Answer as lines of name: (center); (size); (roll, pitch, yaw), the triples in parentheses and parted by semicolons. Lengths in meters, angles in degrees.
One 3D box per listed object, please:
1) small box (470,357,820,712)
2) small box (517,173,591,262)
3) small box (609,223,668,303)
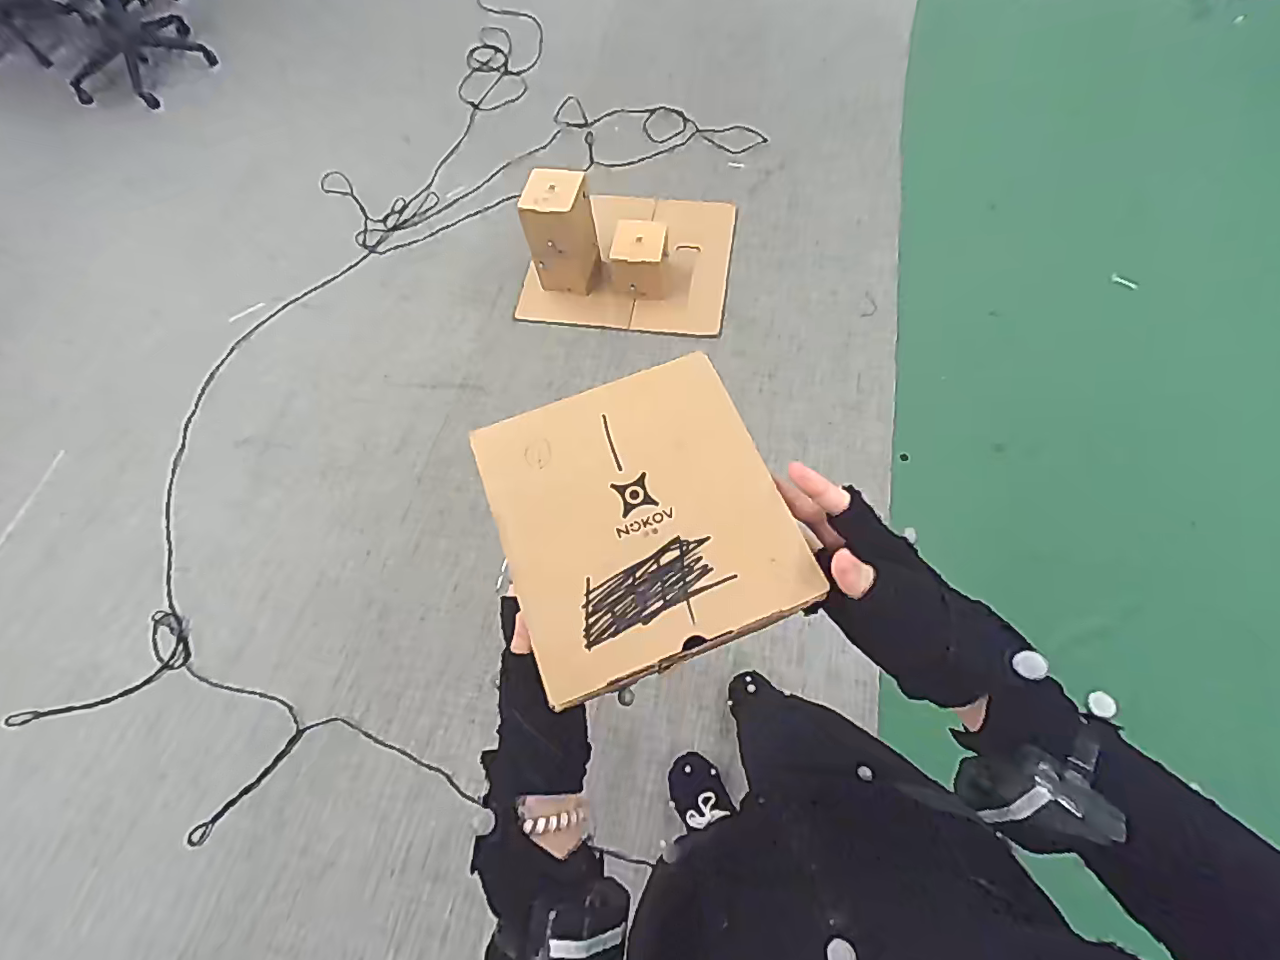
small box: (0.000, 0.048, 0.396); (0.168, 0.176, 0.179); (-20, 70, -7)
small box: (-0.256, -0.807, 1.663); (0.168, 0.176, 0.179); (10, 67, 10)
small box: (0.000, -0.714, 1.786); (0.168, 0.176, 0.179); (6, 67, 6)
